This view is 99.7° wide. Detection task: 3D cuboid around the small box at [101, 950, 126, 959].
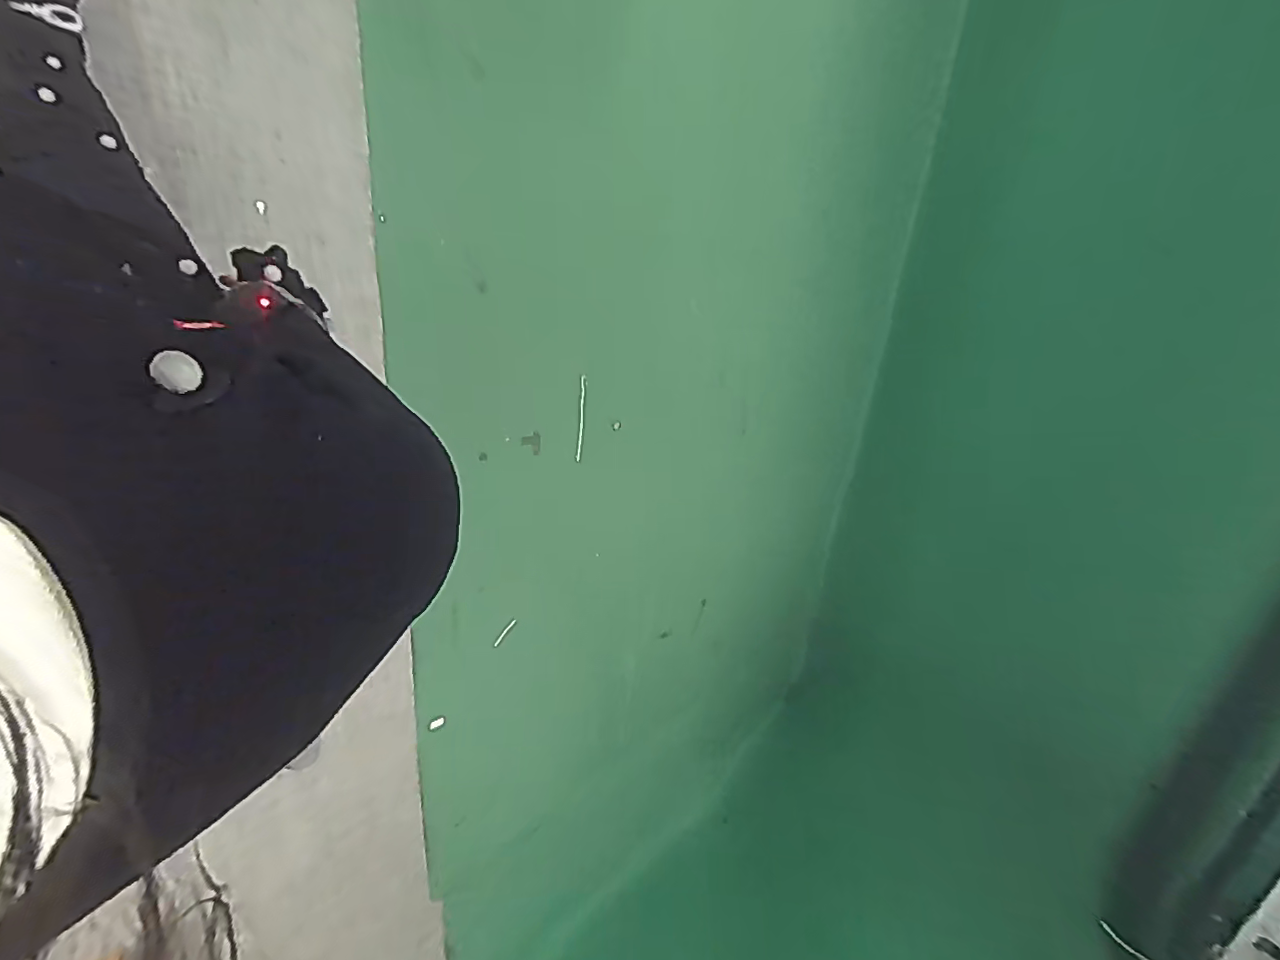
[{"bbox_3d":[-1.341,1.308,1.296,0.179,0.176,0.168,-11,116,-45],"label":"small box"}]
